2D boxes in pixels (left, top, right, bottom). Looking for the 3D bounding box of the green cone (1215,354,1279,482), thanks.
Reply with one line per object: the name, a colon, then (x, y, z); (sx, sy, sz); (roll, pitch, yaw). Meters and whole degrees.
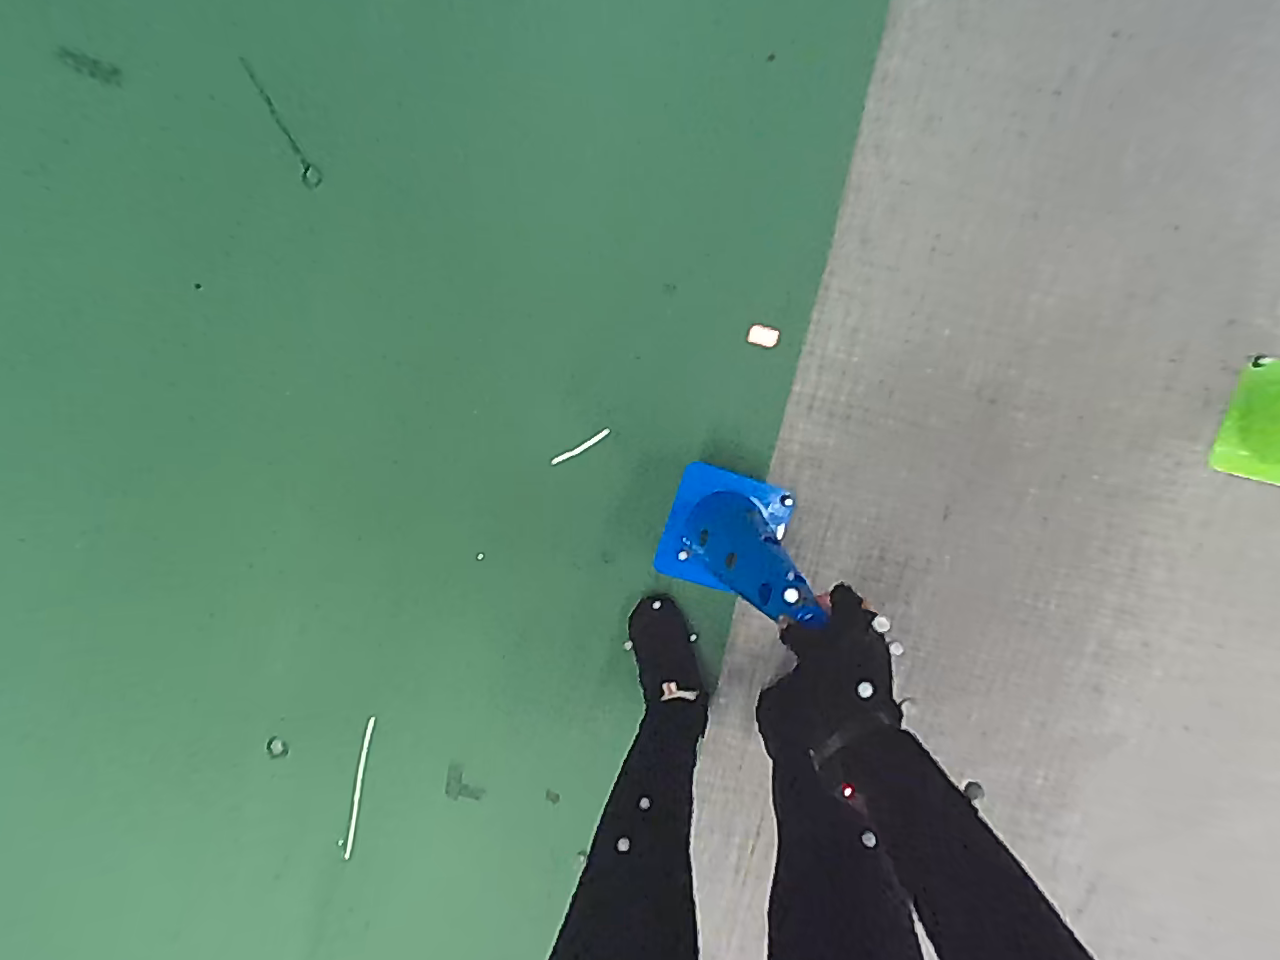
green cone: (1.082, -0.072, 0.737); (0.202, 0.368, 0.200); (12, 99, 0)
